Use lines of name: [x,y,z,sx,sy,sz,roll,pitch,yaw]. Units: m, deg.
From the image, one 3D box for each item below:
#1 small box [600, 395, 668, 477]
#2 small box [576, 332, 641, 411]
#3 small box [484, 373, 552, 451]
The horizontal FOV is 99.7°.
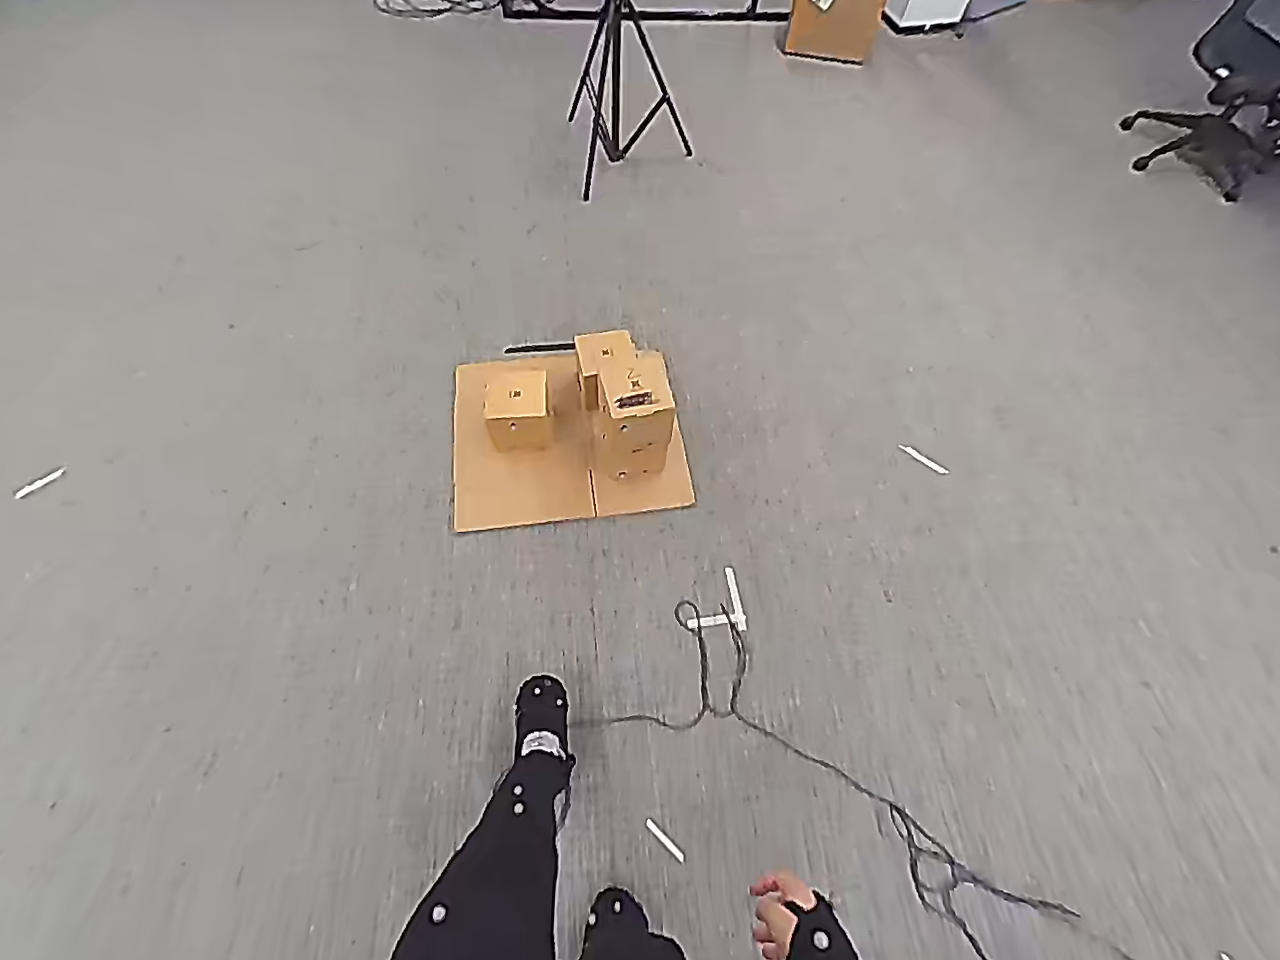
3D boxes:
small box: [-0.021,-0.121,1.587,0.168,0.176,0.179,-10,62,-9]
small box: [-0.102,-0.338,1.706,0.179,0.176,0.168,-11,61,-8]
small box: [-0.356,-0.199,1.611,0.179,0.176,0.168,-3,61,-4]
